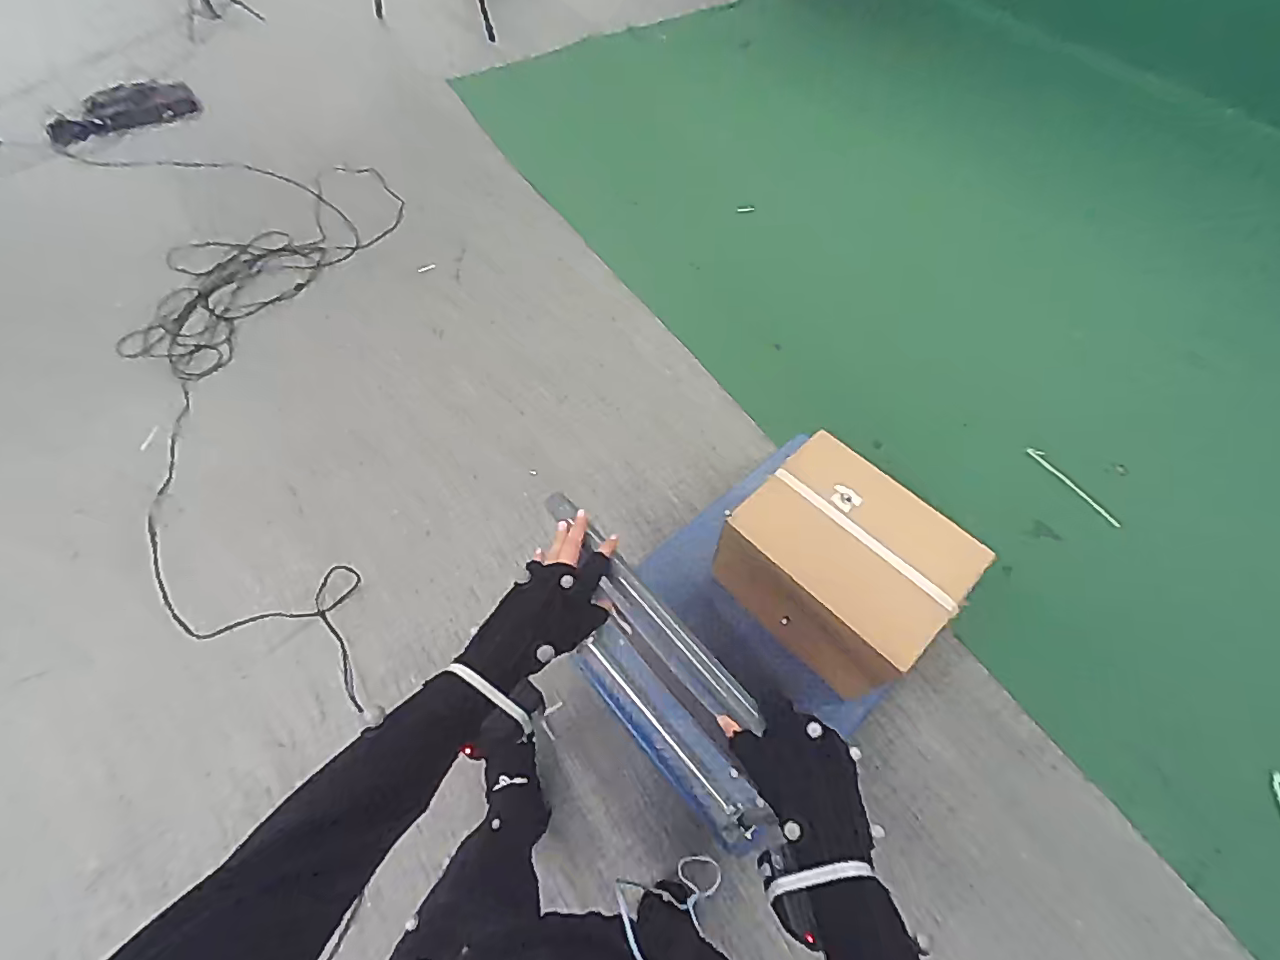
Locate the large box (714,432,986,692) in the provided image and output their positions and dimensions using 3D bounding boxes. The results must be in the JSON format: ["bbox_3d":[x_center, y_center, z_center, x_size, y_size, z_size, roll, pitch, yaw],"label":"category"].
[{"bbox_3d":[0.417,0.181,1.170,0.320,0.320,0.408,-40,66,-21],"label":"large box"}]
